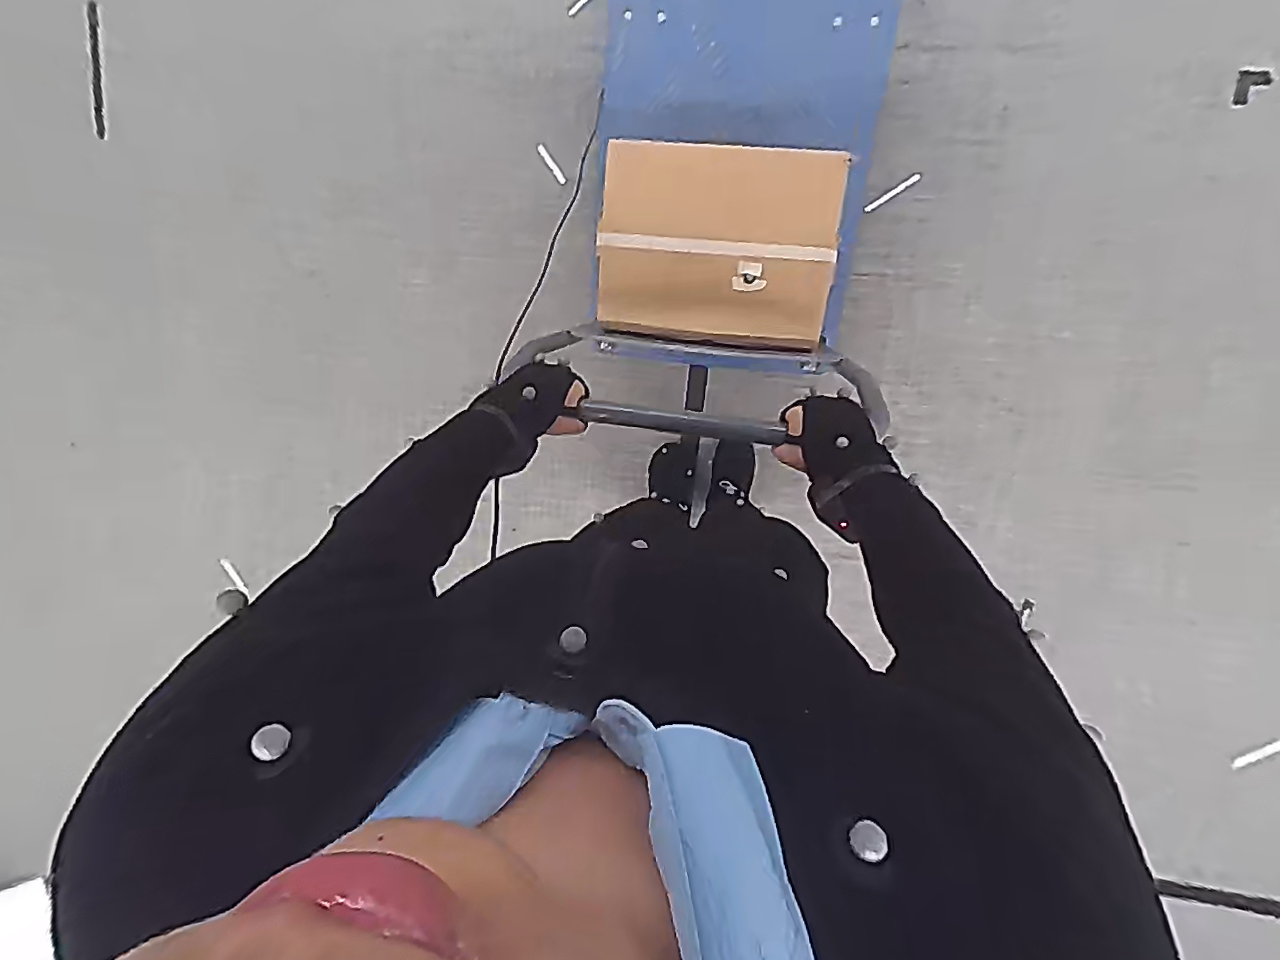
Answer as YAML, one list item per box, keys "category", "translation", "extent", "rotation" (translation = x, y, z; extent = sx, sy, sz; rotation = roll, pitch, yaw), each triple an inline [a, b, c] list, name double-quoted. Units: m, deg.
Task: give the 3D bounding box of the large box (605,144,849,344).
- category: "large box"
  translation: [0.157, -0.451, 1.095]
  extent: [0.408, 0.320, 0.320]
  rotation: [7, 107, 6]
